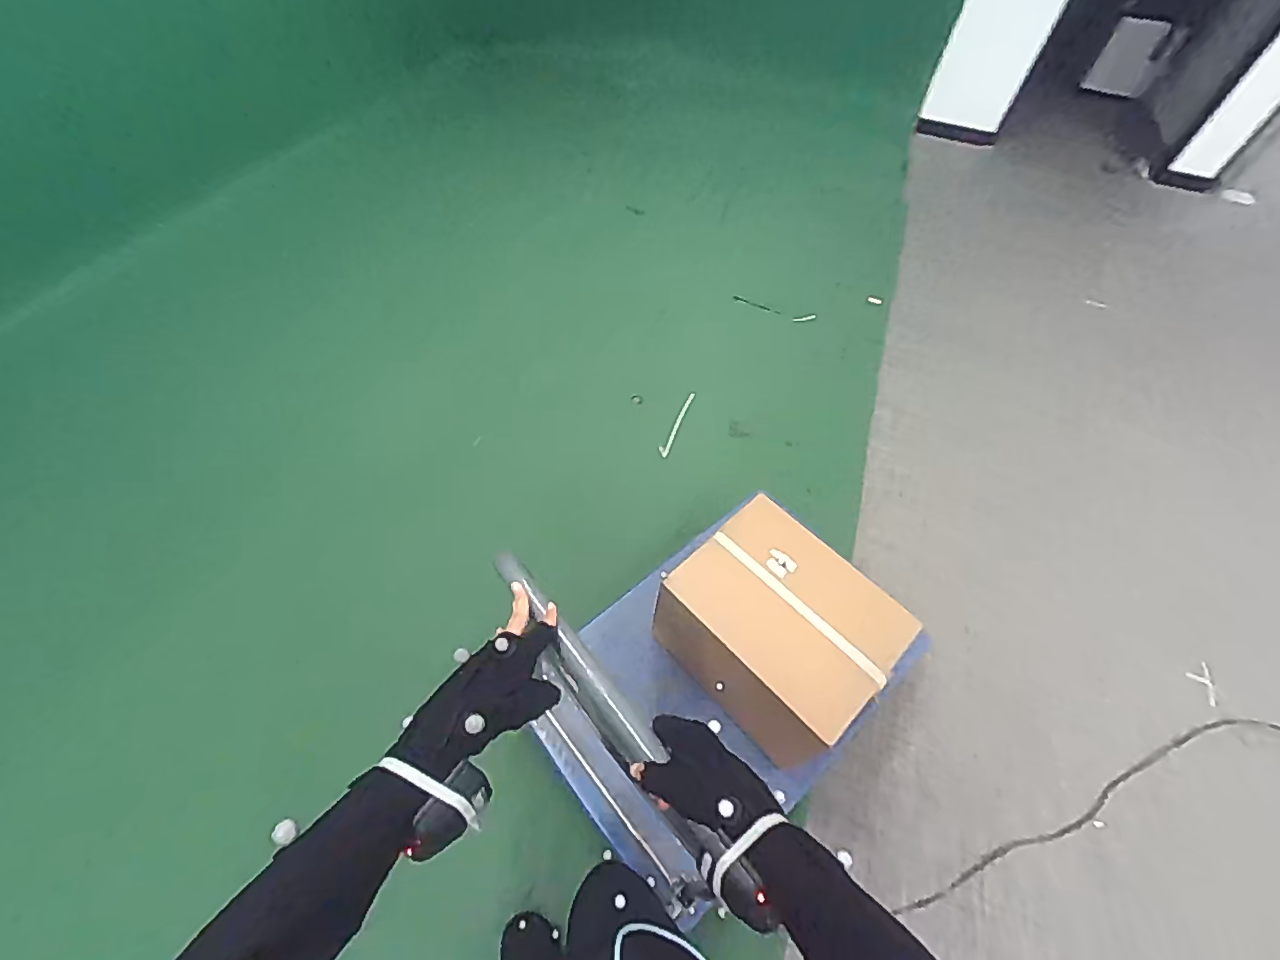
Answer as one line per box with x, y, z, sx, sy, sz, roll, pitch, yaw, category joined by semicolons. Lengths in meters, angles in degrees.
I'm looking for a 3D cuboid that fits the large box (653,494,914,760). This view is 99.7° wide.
0.277;0.317;1.168;0.320;0.320;0.408;-37;65;-25;large box
